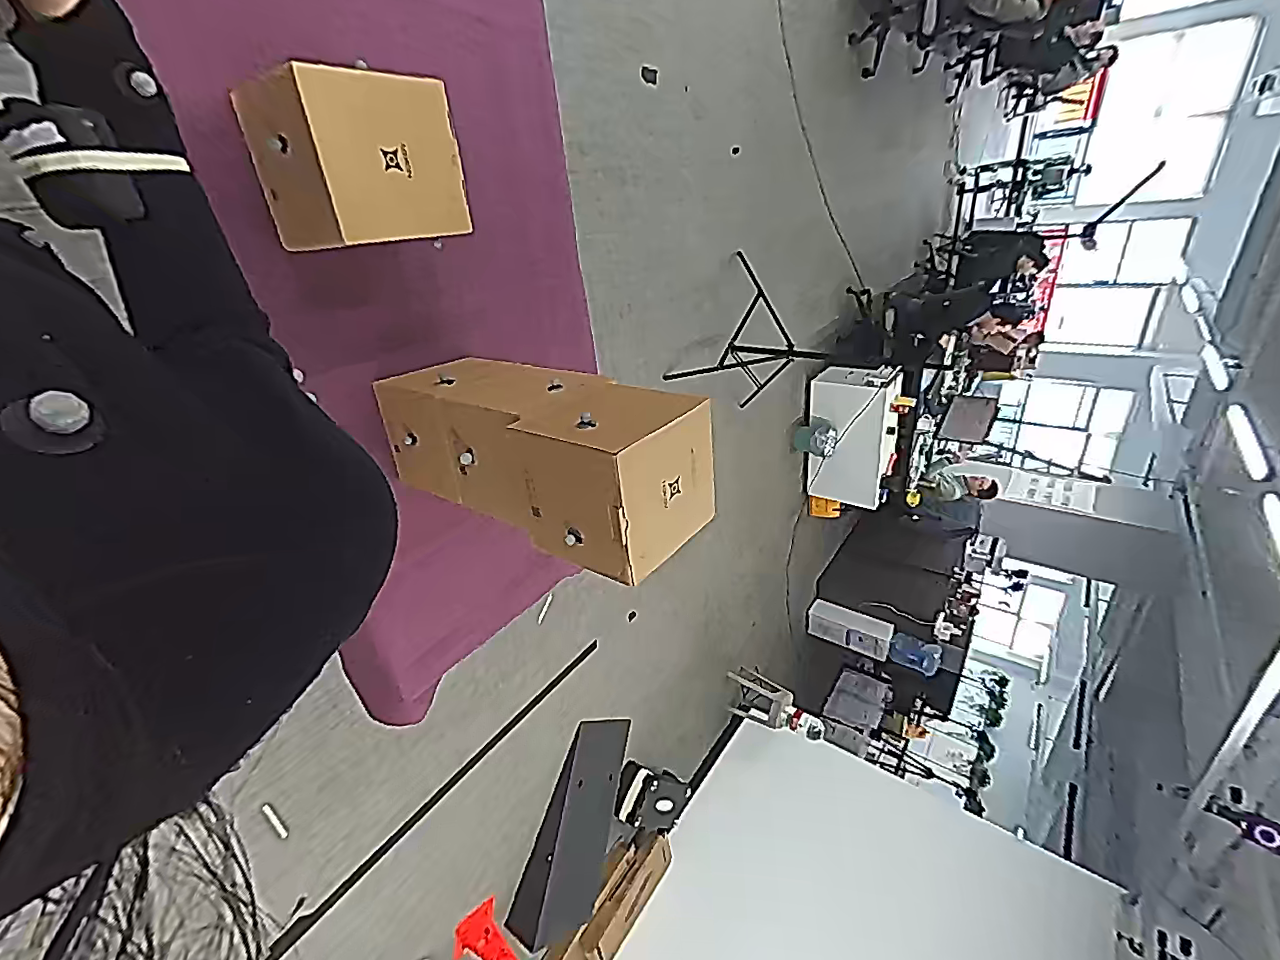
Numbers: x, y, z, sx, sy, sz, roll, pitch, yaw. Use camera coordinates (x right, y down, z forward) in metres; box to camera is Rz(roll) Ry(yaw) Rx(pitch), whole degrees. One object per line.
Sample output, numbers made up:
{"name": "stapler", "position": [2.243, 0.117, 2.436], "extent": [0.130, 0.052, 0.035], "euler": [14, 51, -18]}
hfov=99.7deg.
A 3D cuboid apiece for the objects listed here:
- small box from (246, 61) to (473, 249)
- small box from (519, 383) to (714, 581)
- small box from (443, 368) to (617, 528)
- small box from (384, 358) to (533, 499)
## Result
{"name": "small box", "position": [-0.341, -0.381, 0.660], "extent": [0.179, 0.176, 0.168], "euler": [-35, 129, -45]}
{"name": "small box", "position": [-0.028, -0.010, 0.658], "extent": [0.179, 0.176, 0.168], "euler": [-36, 130, -43]}
{"name": "small box", "position": [-0.144, -0.055, 0.764], "extent": [0.179, 0.176, 0.168], "euler": [-32, 126, -44]}
{"name": "small box", "position": [-0.277, -0.090, 0.854], "extent": [0.179, 0.176, 0.168], "euler": [-33, 127, -45]}
